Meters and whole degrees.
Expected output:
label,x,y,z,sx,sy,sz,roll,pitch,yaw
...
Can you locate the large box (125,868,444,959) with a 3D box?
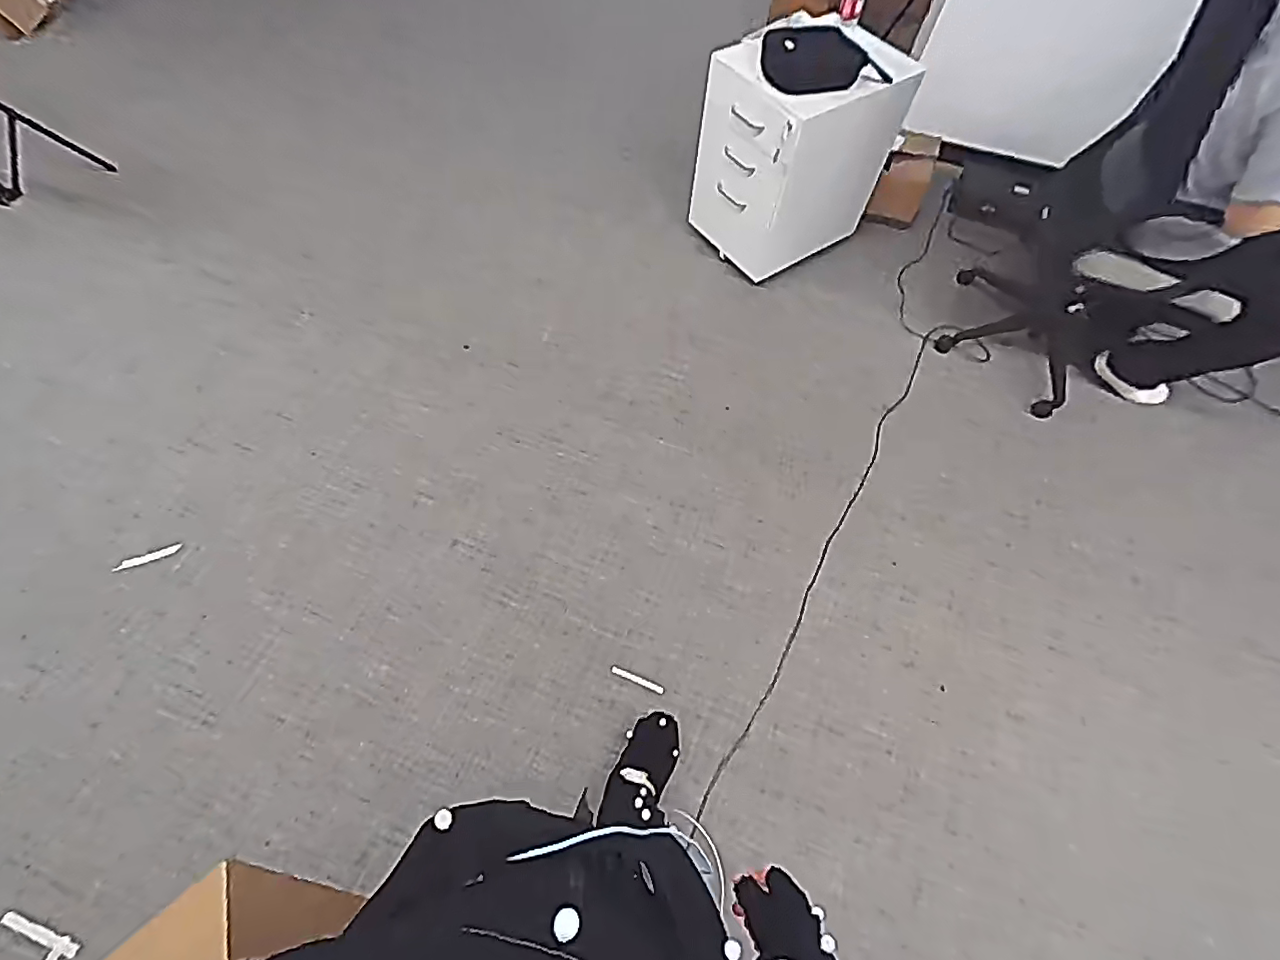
label,x,y,z,sx,sy,sz,roll,pitch,yaw
large box,-0.429,0.728,0.598,0.320,0.408,0.320,-37,42,-15
